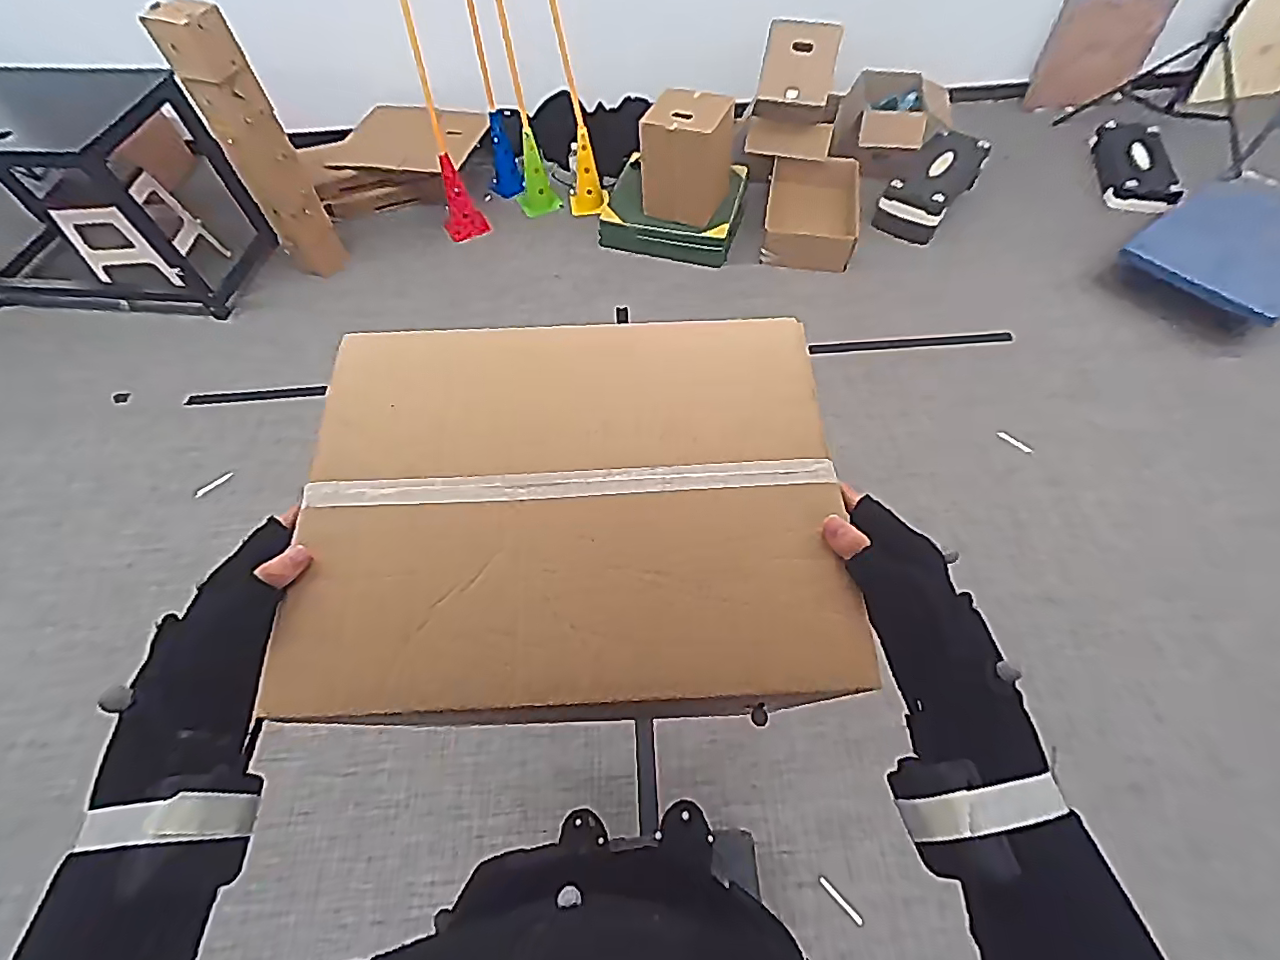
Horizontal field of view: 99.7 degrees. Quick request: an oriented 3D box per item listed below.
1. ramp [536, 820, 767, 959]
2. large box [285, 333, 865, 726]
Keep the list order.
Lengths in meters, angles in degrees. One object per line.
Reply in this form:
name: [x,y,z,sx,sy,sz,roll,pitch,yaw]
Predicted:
ramp: [0.045,1.251,1.047,0.509,0.206,0.991,-5,59,-2]
large box: [-0.048,0.076,0.563,0.408,0.320,0.320,-2,64,-1]
